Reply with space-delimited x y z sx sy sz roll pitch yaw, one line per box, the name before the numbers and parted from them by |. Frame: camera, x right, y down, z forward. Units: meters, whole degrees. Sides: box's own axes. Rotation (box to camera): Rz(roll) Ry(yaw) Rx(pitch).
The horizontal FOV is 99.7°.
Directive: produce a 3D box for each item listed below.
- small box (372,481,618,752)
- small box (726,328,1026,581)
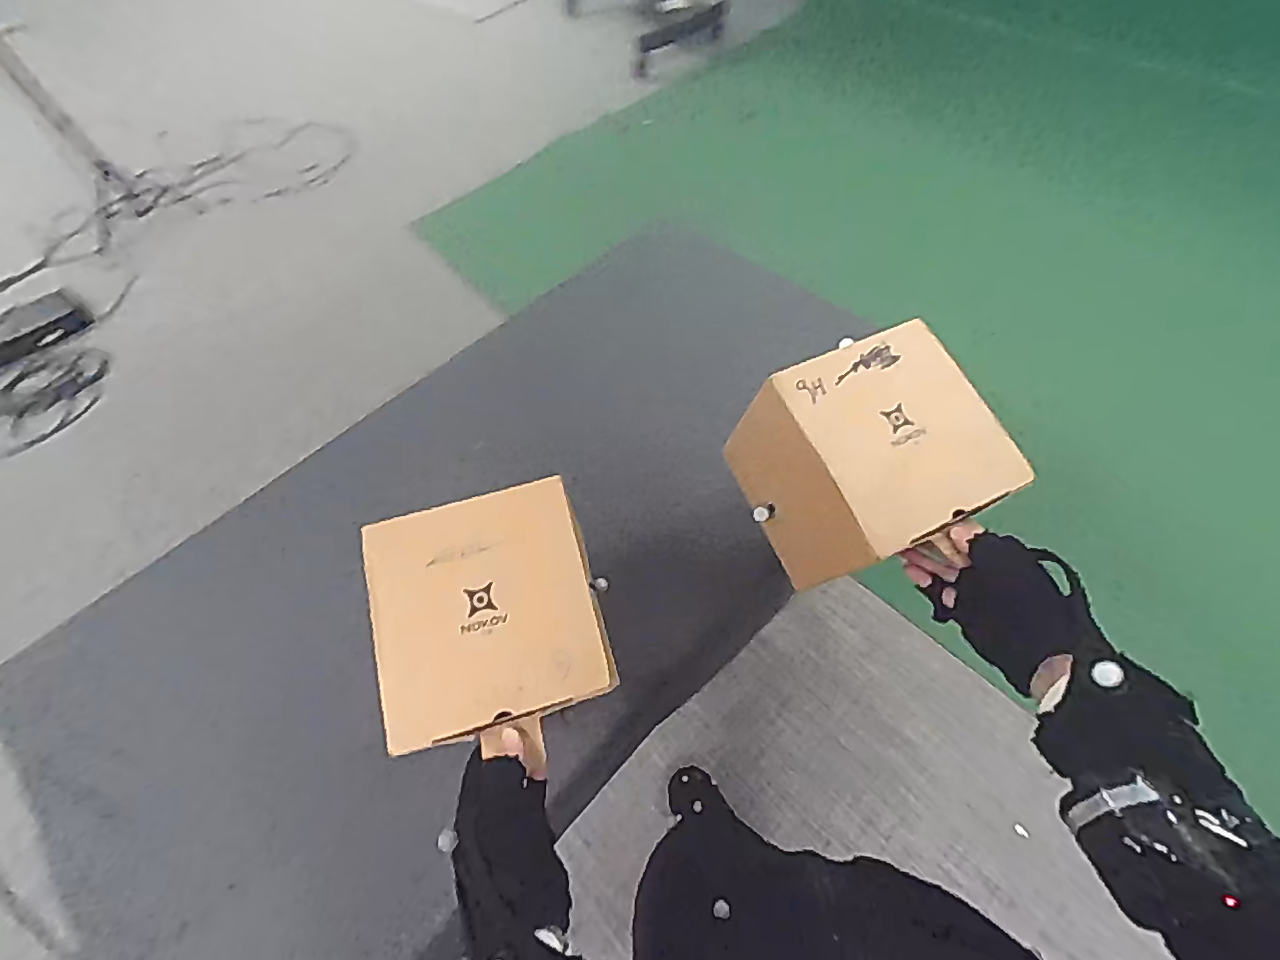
small box | -0.120 0.124 0.501 0.168 0.176 0.179 -15 72 -6
small box | 0.208 -0.011 0.529 0.168 0.176 0.179 -22 76 -14
